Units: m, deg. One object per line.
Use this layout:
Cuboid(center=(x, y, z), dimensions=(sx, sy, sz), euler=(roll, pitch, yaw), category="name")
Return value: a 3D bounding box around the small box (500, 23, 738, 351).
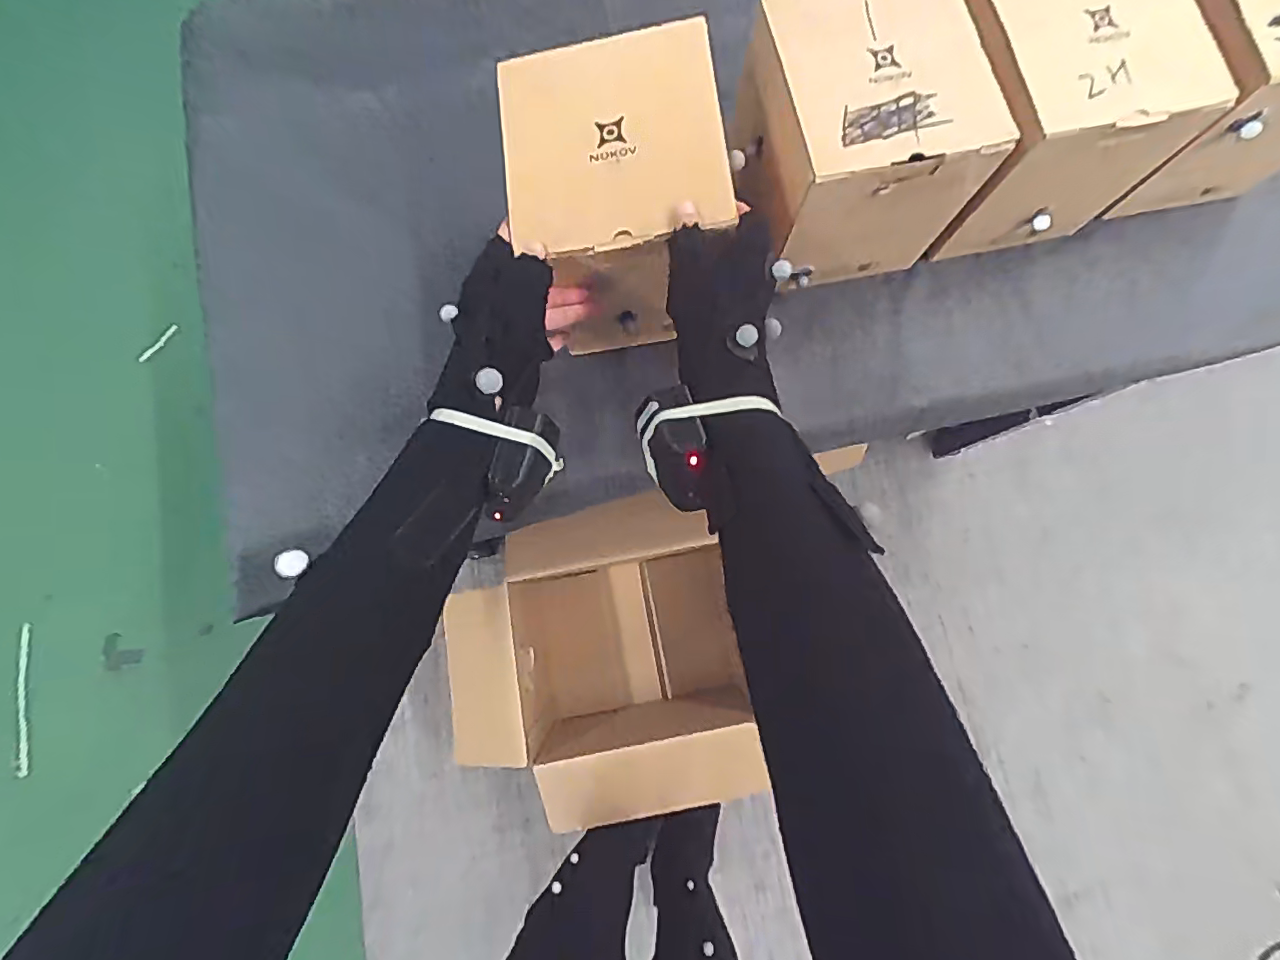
Cuboid(center=(-0.012, -0.238, 0.479), dimensions=(0.168, 0.176, 0.179), euler=(-9, 79, 6), category="small box")
